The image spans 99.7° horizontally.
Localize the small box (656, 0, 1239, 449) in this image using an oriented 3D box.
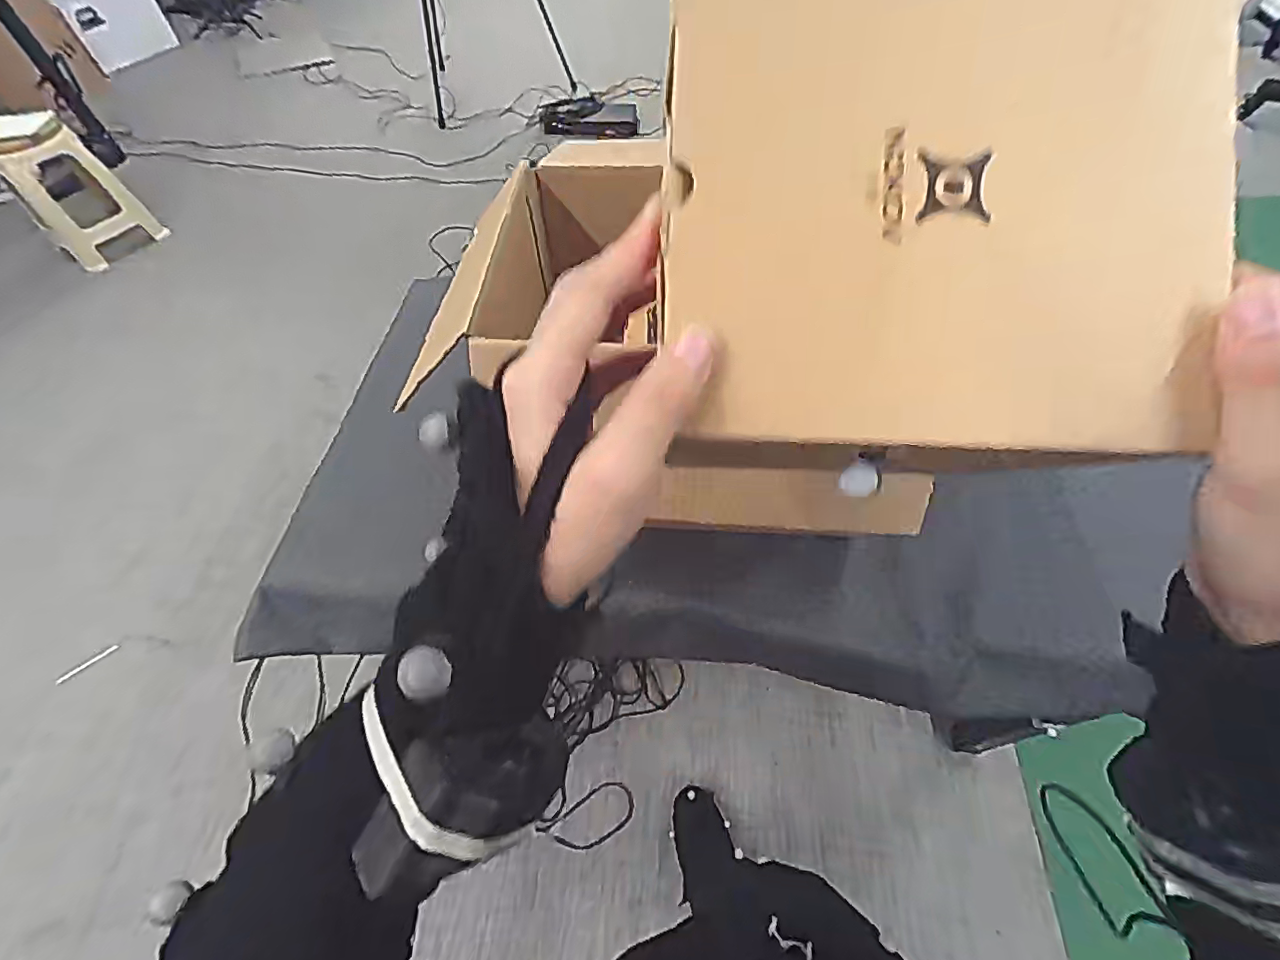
[{"bbox_3d":[0.100,-0.104,0.250,0.179,0.176,0.168,2,89,4],"label":"small box"}]
